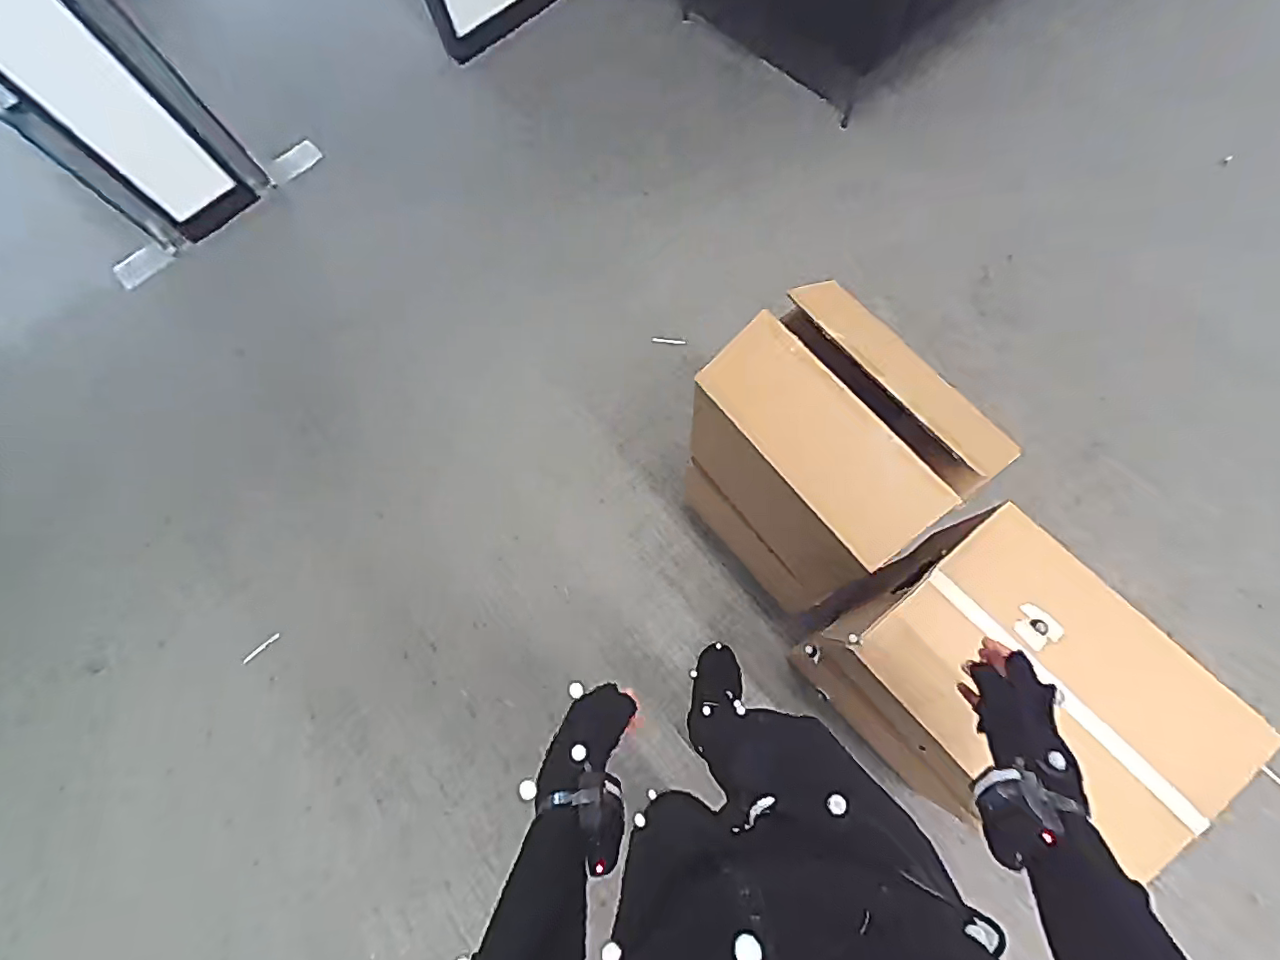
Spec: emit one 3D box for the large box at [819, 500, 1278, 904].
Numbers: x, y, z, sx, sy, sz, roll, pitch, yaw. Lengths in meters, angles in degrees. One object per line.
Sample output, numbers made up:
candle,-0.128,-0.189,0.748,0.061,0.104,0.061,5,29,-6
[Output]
large box,0.551,0.301,0.839,0.320,0.320,0.408,-42,72,-3
